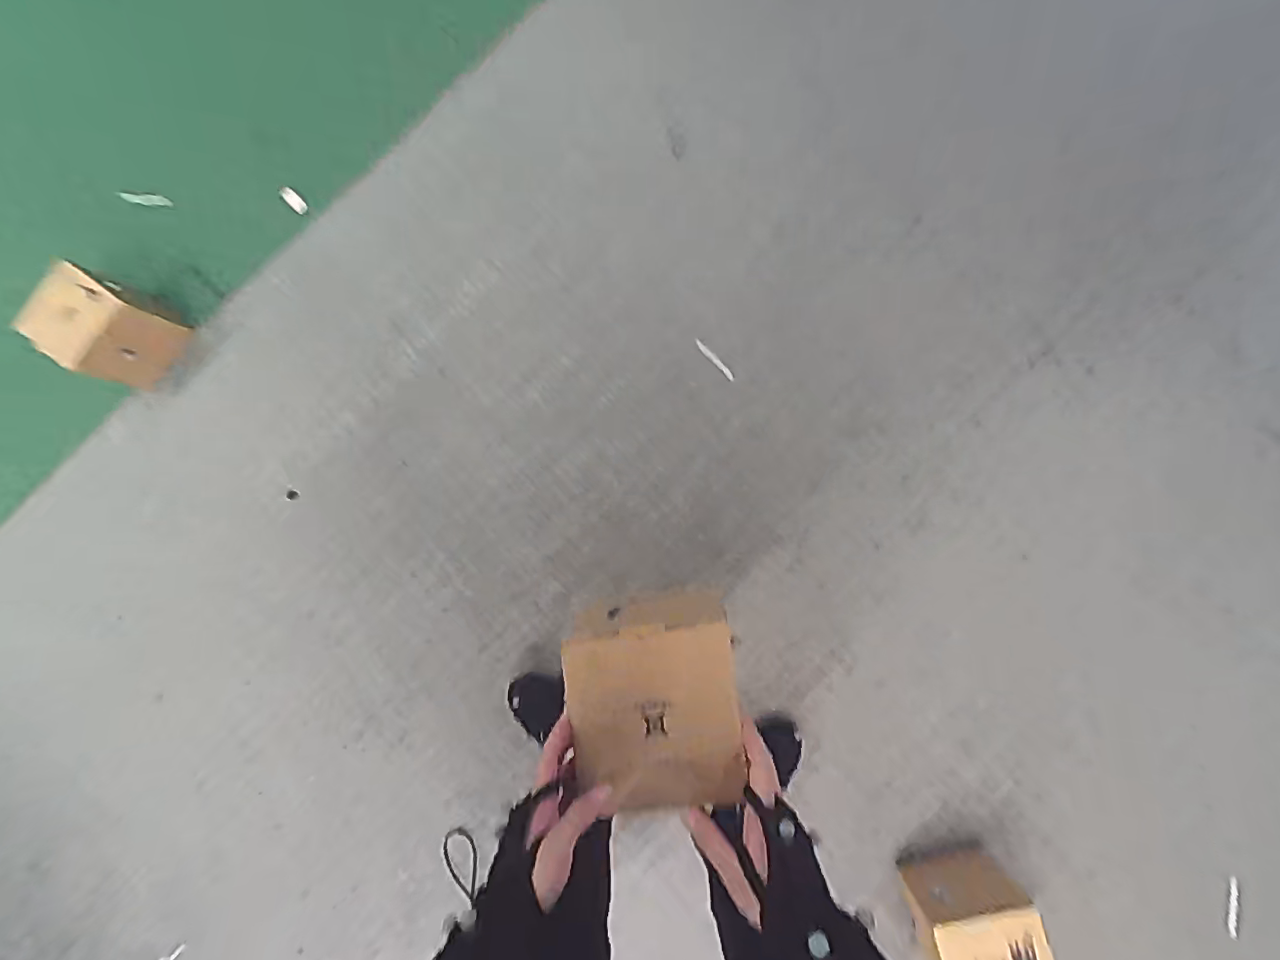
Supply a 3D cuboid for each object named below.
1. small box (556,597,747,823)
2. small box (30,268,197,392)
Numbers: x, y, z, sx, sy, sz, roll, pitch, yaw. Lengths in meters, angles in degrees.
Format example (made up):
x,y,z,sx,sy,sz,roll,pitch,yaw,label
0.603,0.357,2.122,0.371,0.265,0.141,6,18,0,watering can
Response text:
x,y,z,sx,sy,sz,roll,pitch,yaw,label
0.014,0.231,0.588,0.168,0.176,0.179,-8,89,4,small box
-1.138,-0.317,1.184,0.168,0.176,0.179,35,89,7,small box
